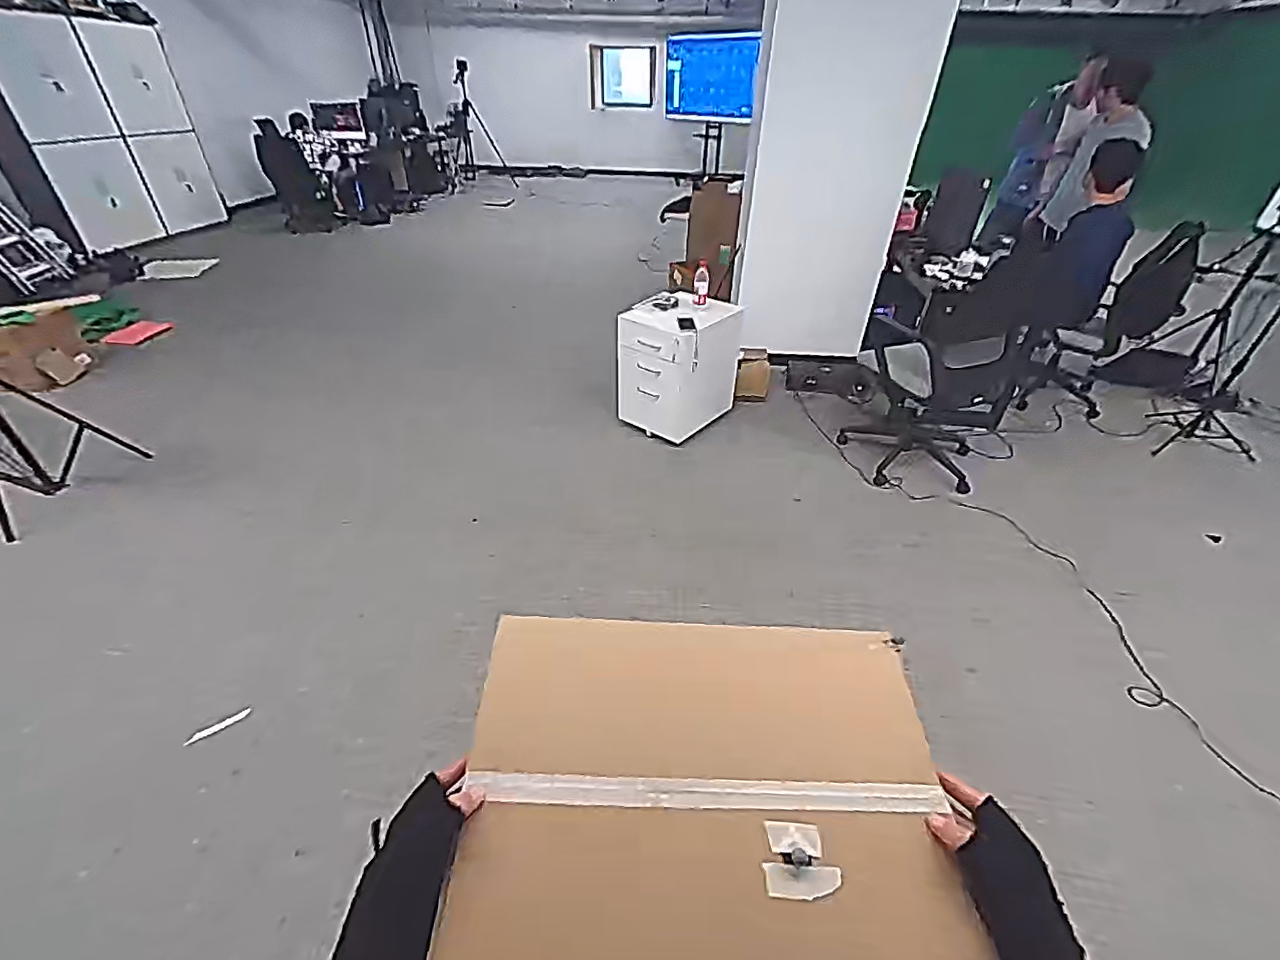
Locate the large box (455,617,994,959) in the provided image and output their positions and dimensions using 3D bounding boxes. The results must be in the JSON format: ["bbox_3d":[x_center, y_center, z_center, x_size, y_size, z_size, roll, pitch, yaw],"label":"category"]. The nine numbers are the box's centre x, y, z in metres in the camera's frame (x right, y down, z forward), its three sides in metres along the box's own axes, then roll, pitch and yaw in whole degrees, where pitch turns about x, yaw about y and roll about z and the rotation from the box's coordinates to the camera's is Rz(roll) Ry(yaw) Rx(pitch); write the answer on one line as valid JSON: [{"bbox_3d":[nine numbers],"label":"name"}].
[{"bbox_3d":[0.056,0.366,0.579,0.408,0.320,0.320,3,48,-2],"label":"large box"}]
